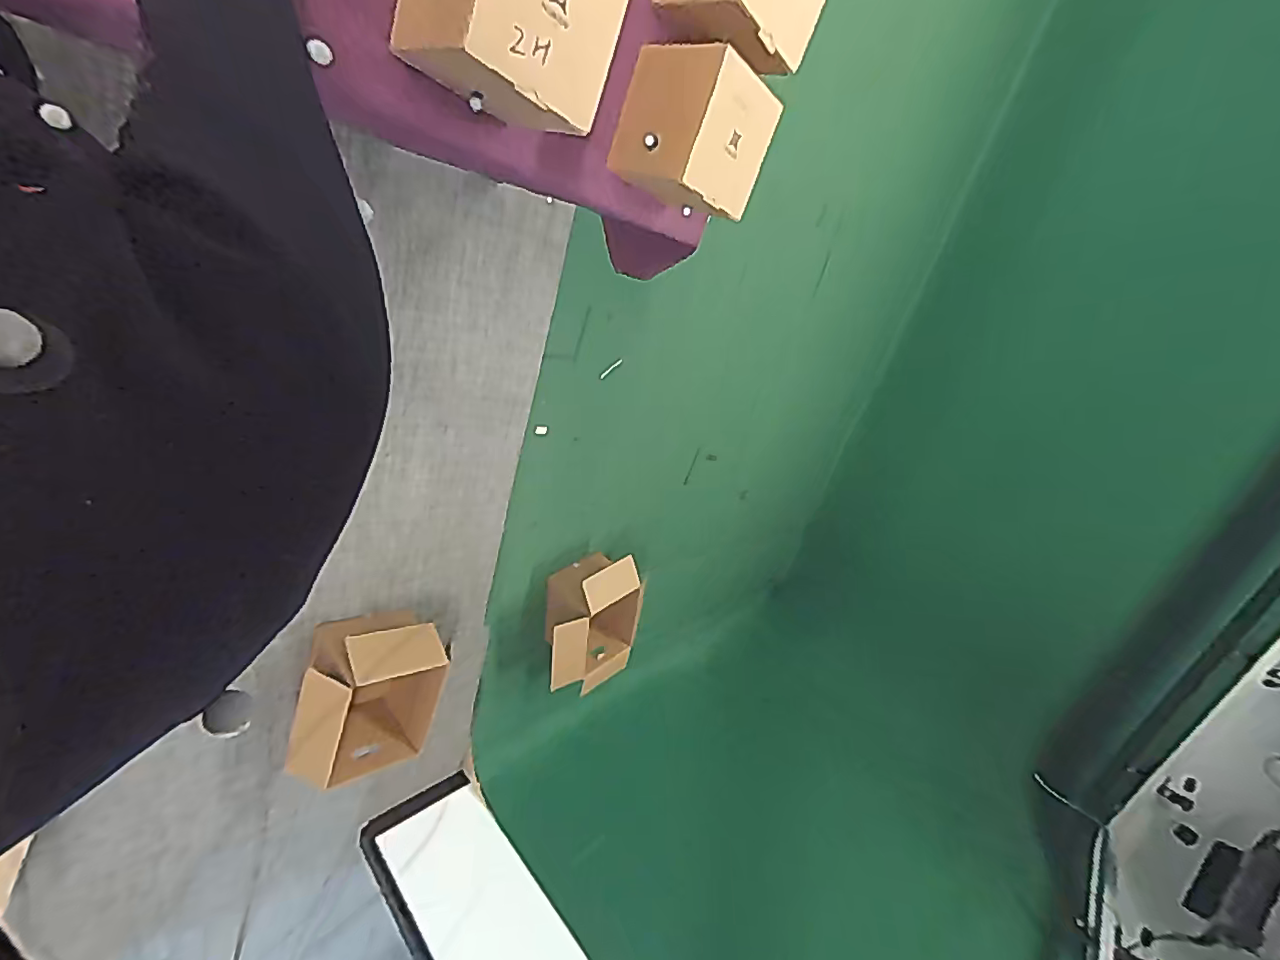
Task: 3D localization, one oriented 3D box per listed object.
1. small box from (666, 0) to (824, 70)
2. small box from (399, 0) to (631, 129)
[{"bbox_3d":[0.155,-0.725,0.764,0.168,0.176,0.179,2,117,-51],"label":"small box"},{"bbox_3d":[-0.134,-0.517,0.582,0.168,0.176,0.179,0,117,-50],"label":"small box"}]
